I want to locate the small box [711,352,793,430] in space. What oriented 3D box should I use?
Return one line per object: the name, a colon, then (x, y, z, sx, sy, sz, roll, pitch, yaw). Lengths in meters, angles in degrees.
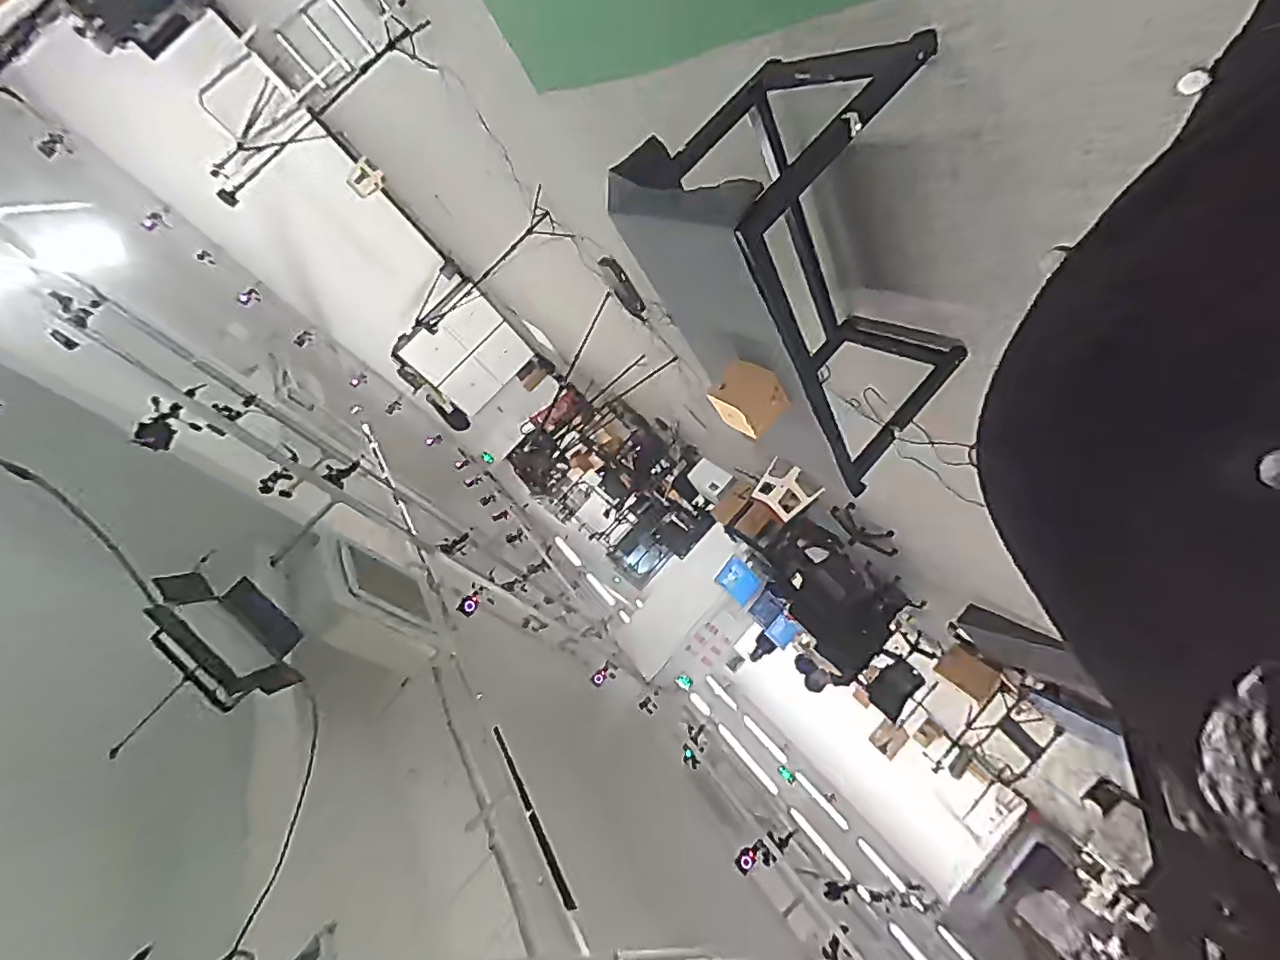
small box: (0.377, -0.303, 1.809, 0.179, 0.176, 0.168, 38, 175, 47)
